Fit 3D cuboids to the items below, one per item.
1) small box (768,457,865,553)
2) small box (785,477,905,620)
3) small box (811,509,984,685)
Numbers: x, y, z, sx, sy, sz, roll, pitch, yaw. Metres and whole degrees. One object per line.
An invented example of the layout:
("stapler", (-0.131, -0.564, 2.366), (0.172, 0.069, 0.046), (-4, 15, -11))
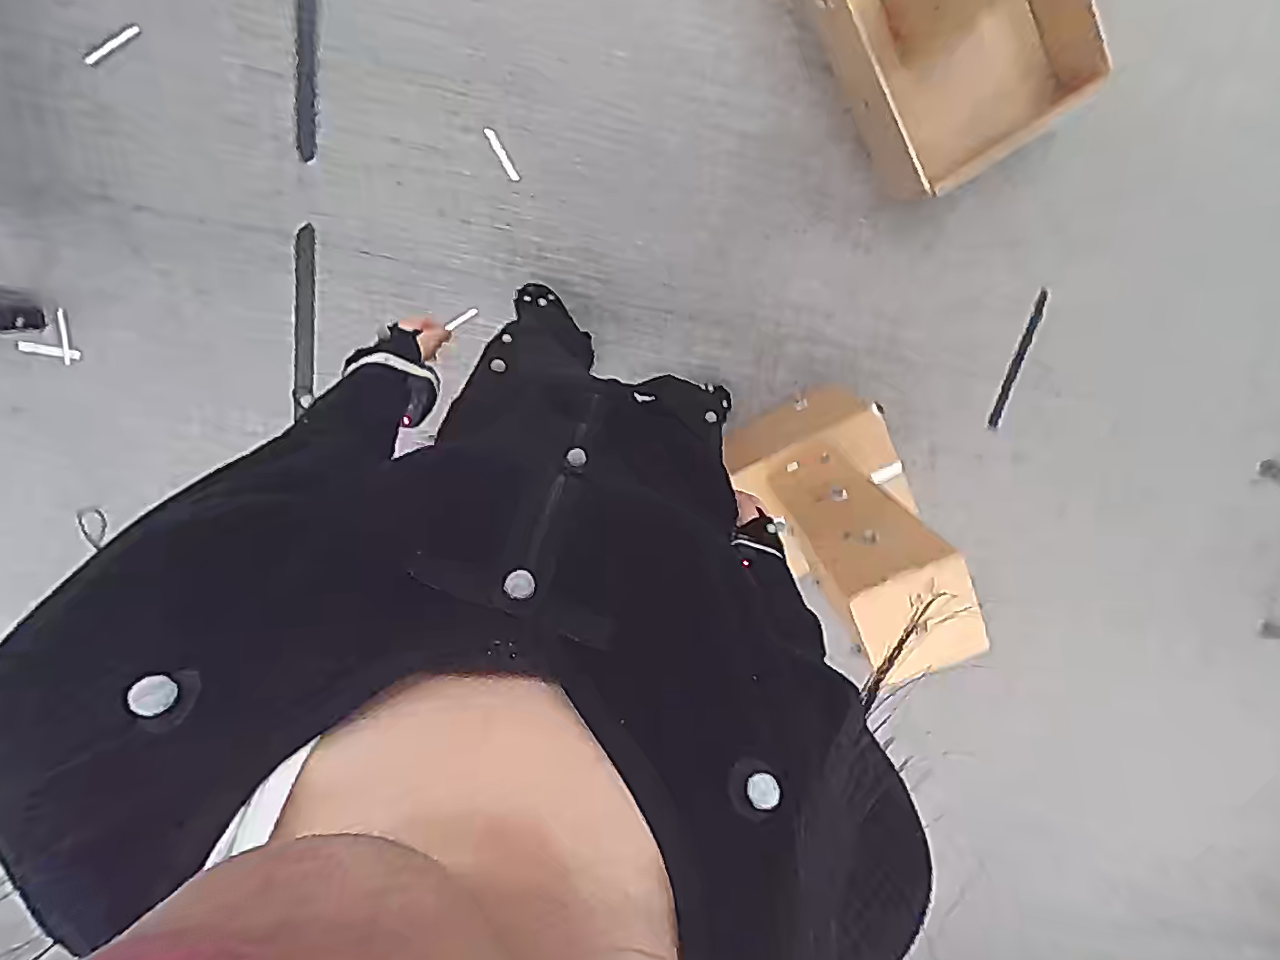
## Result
("small box", (0.392, 0.067, 1.152), (0.168, 0.176, 0.179), (-25, 109, 9))
("small box", (0.389, 0.119, 0.998), (0.168, 0.176, 0.179), (-23, 108, 7))
("small box", (0.391, 0.175, 0.842), (0.168, 0.176, 0.179), (-24, 109, 7))
